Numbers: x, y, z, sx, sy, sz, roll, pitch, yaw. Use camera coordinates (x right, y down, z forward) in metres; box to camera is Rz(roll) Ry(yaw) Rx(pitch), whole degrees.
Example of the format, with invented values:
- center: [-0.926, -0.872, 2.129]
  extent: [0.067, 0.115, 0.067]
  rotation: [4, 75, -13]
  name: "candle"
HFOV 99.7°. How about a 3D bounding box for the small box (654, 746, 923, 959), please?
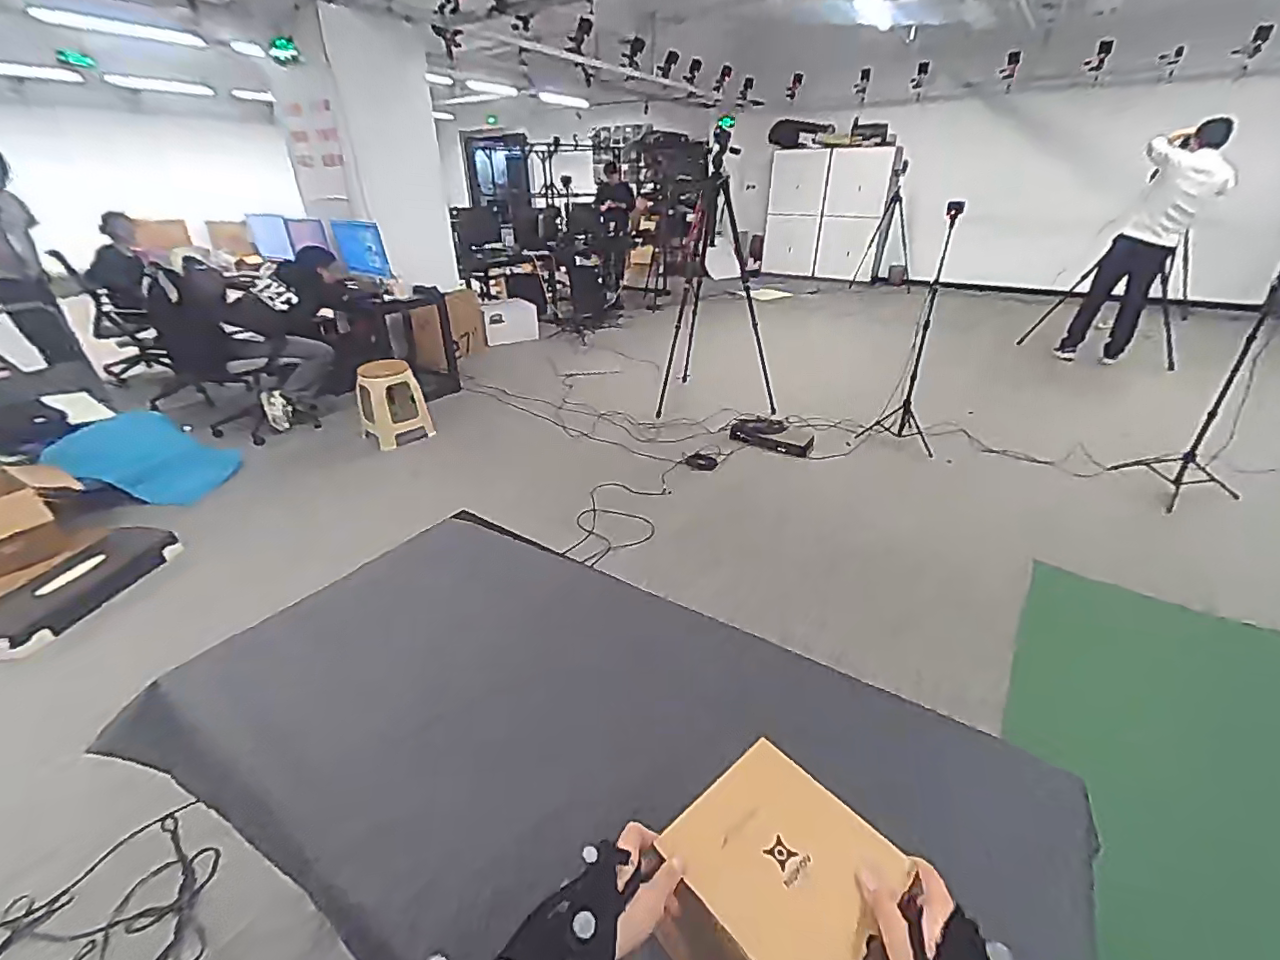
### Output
- center: [0.131, 0.411, 0.517]
  extent: [0.168, 0.176, 0.179]
  rotation: [-22, 34, -36]
  name: "small box"
